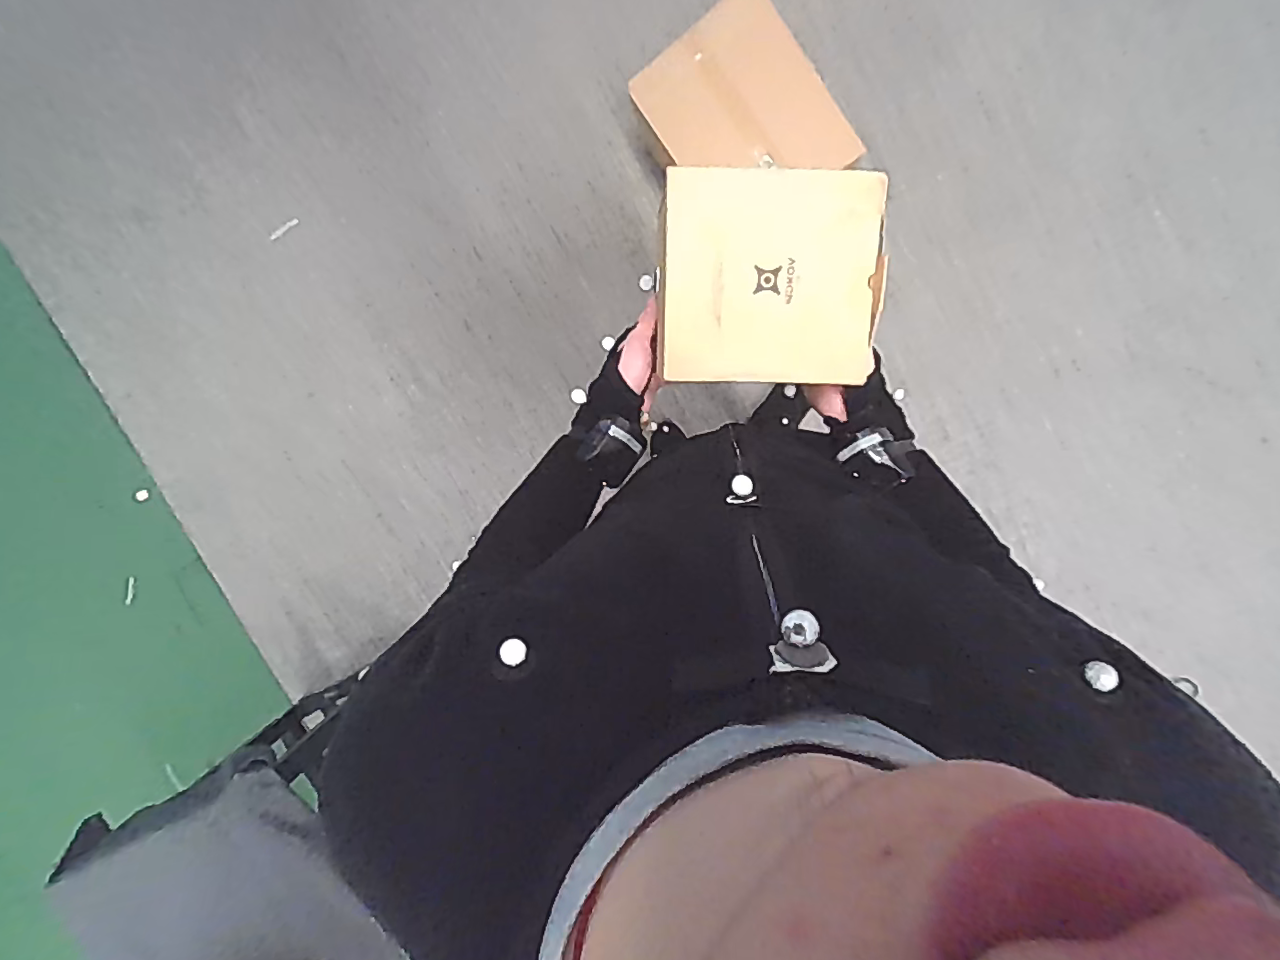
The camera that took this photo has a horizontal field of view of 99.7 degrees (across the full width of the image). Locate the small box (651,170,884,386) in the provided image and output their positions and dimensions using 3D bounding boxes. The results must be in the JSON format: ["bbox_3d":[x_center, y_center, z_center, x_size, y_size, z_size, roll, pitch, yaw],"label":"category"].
[{"bbox_3d":[0.104,-0.179,0.519,0.179,0.176,0.168,0,102,-1],"label":"small box"}]
